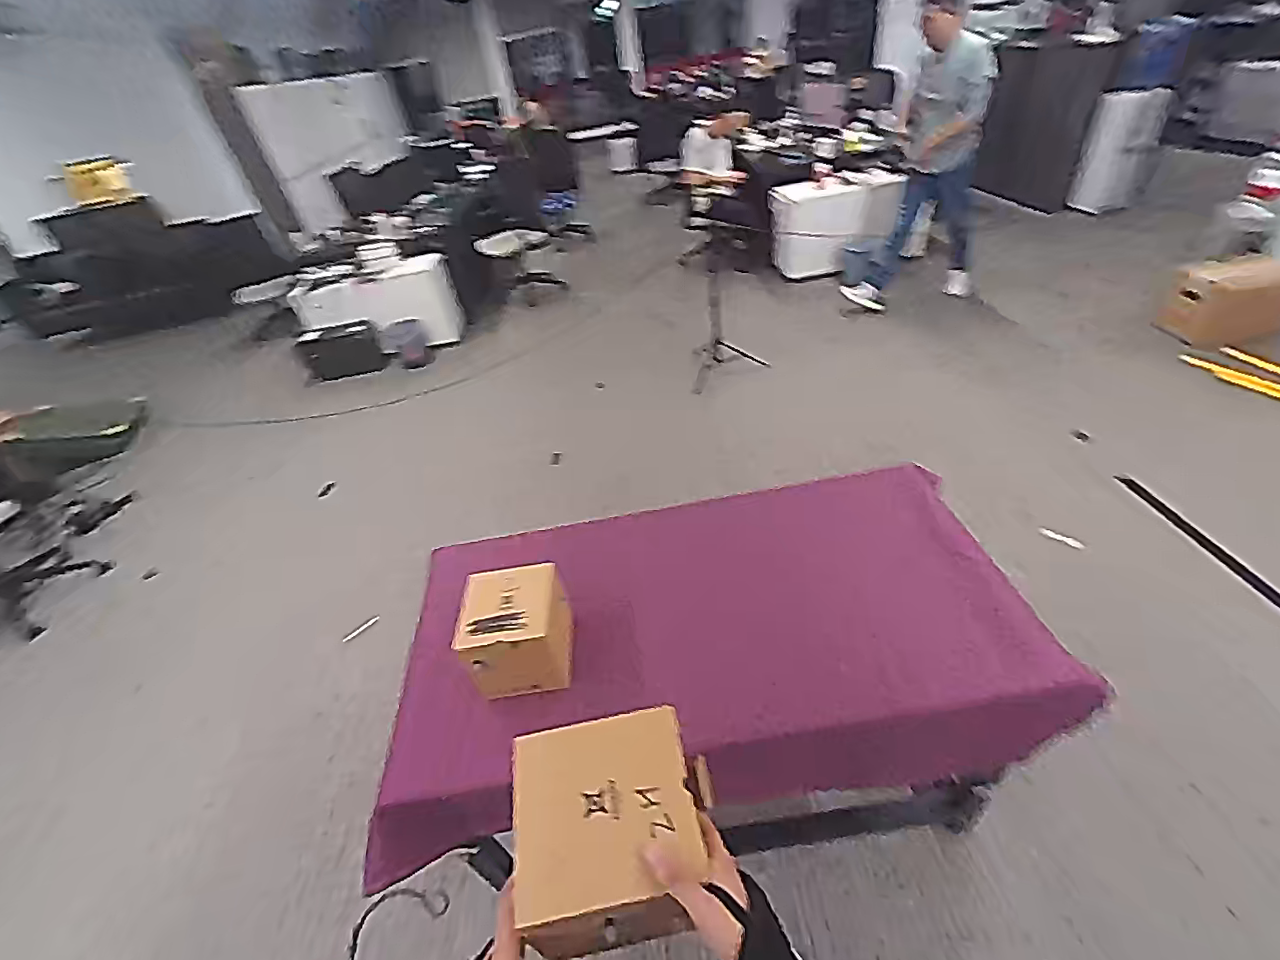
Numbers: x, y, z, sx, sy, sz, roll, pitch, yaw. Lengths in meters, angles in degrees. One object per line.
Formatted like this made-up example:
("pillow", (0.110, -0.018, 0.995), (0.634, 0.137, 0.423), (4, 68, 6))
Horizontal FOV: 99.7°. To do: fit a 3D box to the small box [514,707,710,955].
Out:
("small box", (-0.028, 0.374, 0.578), (0.179, 0.176, 0.168), (-8, 41, -5))
